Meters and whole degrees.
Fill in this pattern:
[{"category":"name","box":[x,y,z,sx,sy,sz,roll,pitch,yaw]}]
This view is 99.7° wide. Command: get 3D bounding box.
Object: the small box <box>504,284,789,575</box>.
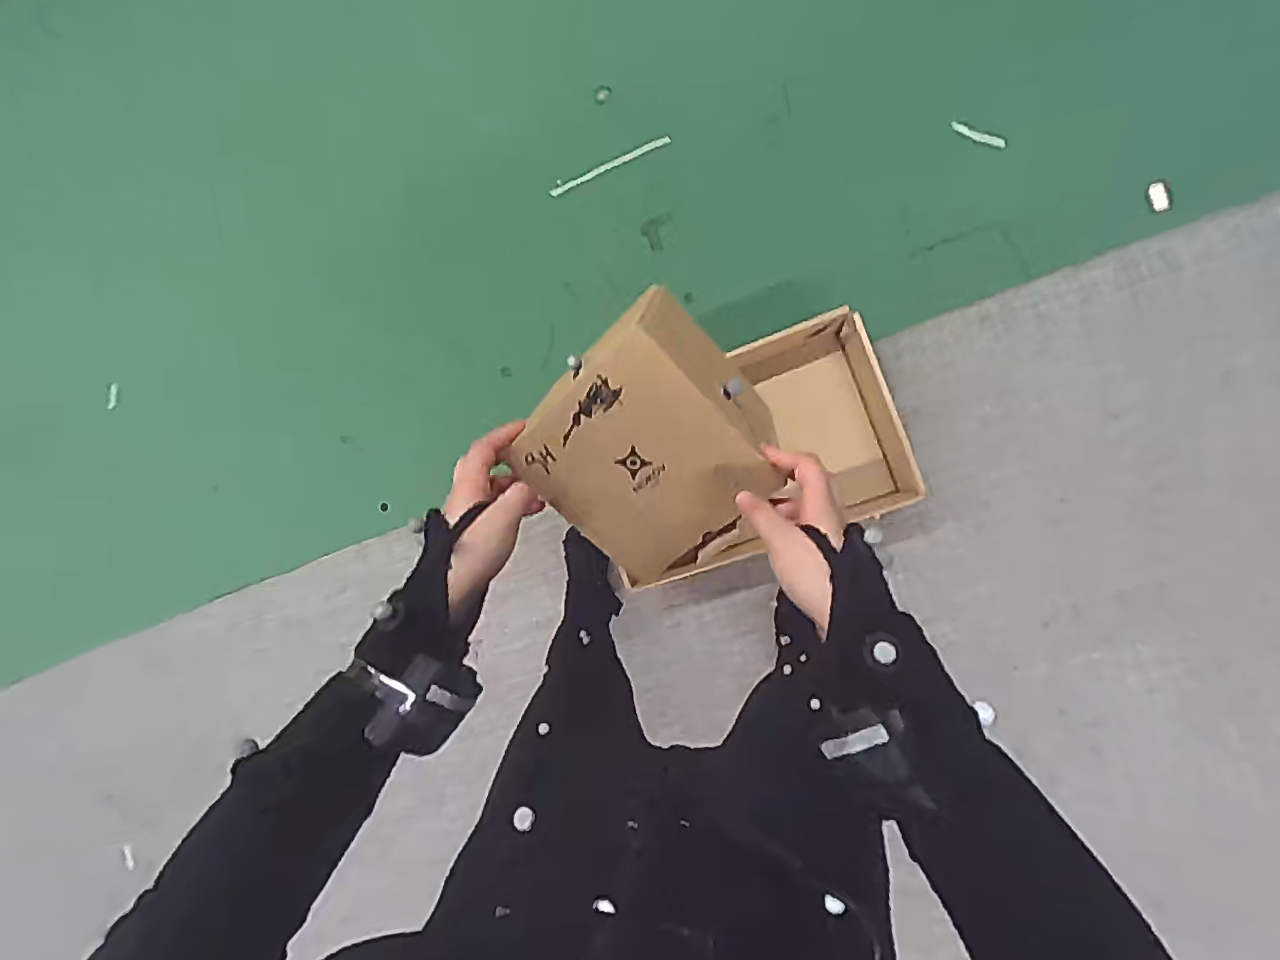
[{"category":"small box","box":[0.014,-0.052,0.502,0.168,0.176,0.179,-37,109,25]}]
